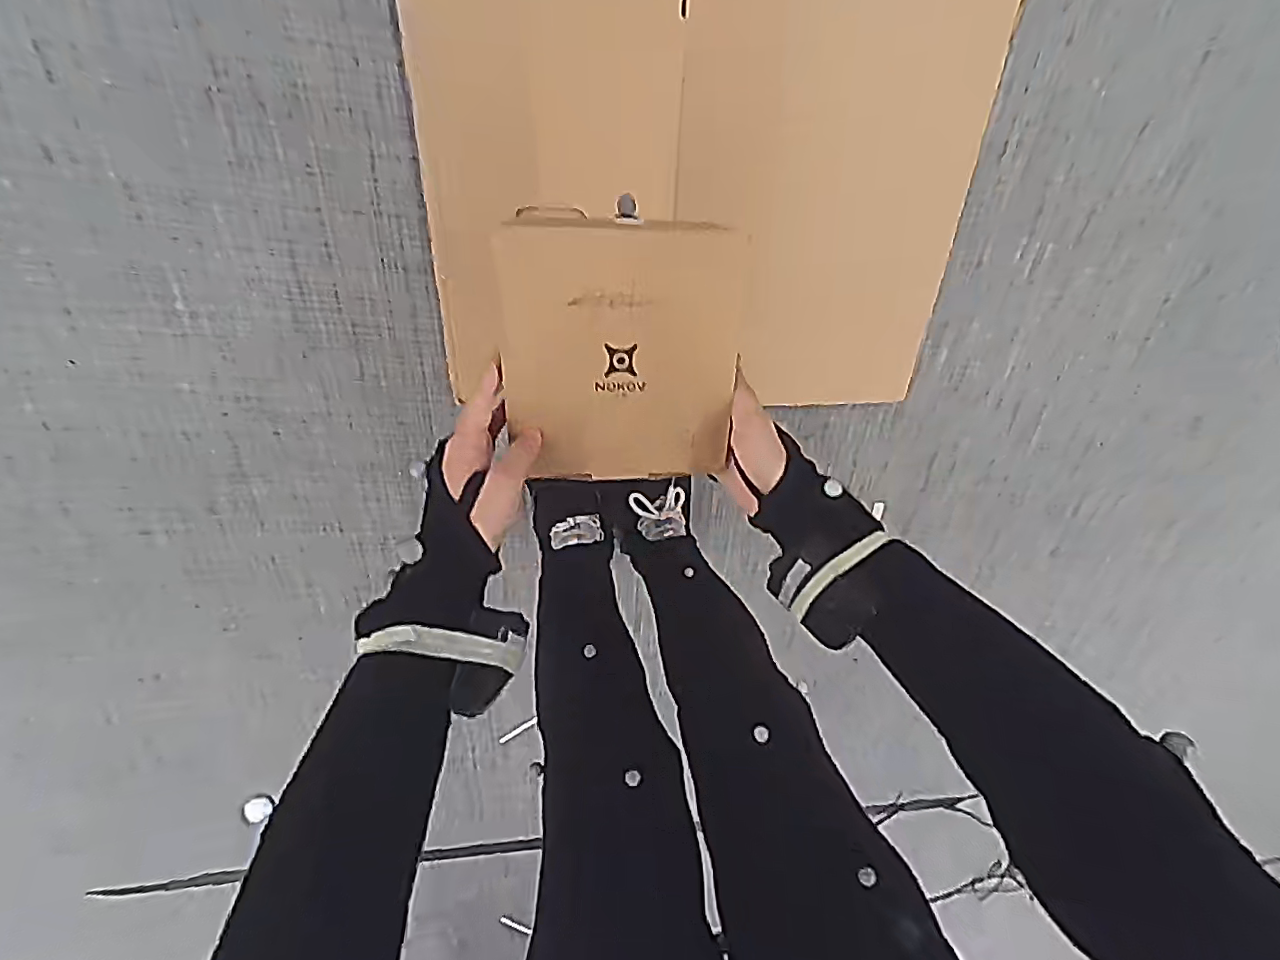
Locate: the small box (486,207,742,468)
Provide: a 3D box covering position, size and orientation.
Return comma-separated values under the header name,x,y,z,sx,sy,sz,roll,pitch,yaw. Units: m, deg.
name,x,y,z,sx,sy,sz,roll,pitch,yaw
small box,-0.025,-0.125,0.449,0.168,0.176,0.179,-2,118,-6
